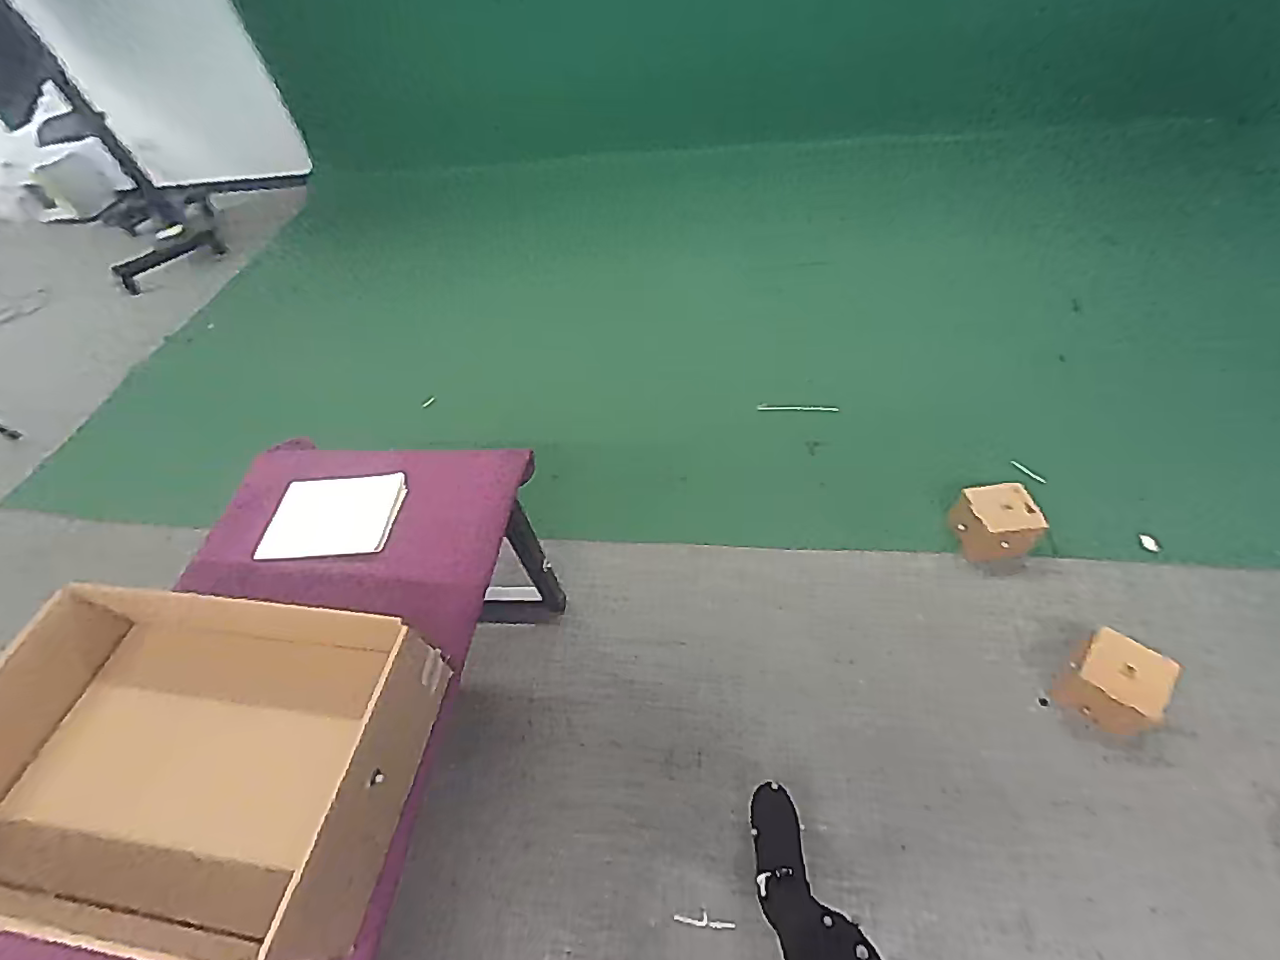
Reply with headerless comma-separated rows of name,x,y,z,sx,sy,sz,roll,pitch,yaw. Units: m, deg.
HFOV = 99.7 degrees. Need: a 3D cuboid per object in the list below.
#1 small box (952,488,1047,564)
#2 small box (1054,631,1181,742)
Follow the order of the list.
small box,1.097,0.147,1.673,0.179,0.176,0.168,-8,51,2
small box,1.192,0.521,1.361,0.168,0.176,0.179,32,63,29
